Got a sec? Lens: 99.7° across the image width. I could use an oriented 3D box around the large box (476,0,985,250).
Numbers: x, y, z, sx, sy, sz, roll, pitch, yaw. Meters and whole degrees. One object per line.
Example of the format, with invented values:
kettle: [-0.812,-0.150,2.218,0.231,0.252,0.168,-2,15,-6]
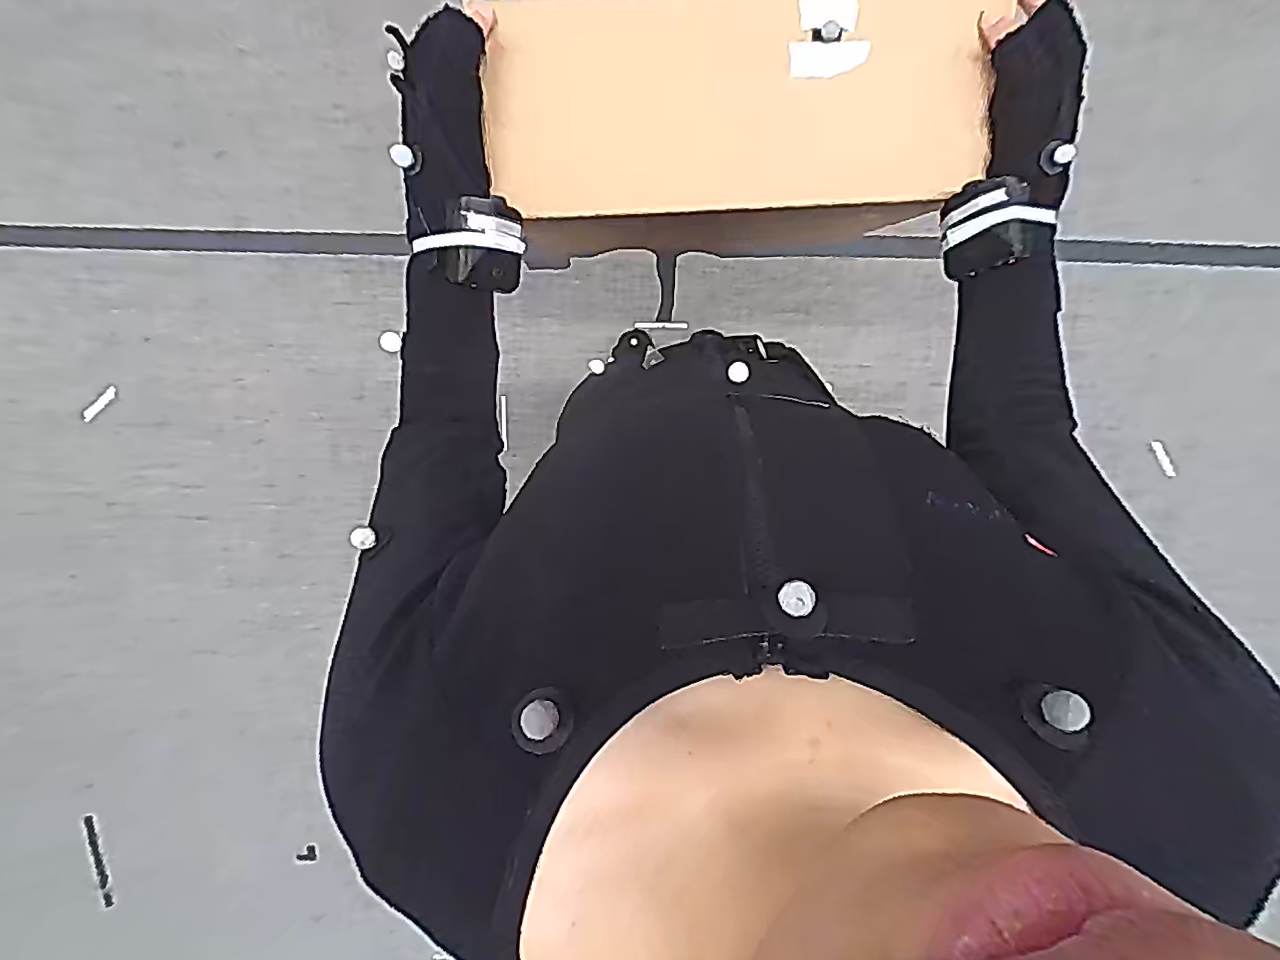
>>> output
large box: [0.067,-0.427,0.556,0.408,0.320,0.320,-3,109,0]
